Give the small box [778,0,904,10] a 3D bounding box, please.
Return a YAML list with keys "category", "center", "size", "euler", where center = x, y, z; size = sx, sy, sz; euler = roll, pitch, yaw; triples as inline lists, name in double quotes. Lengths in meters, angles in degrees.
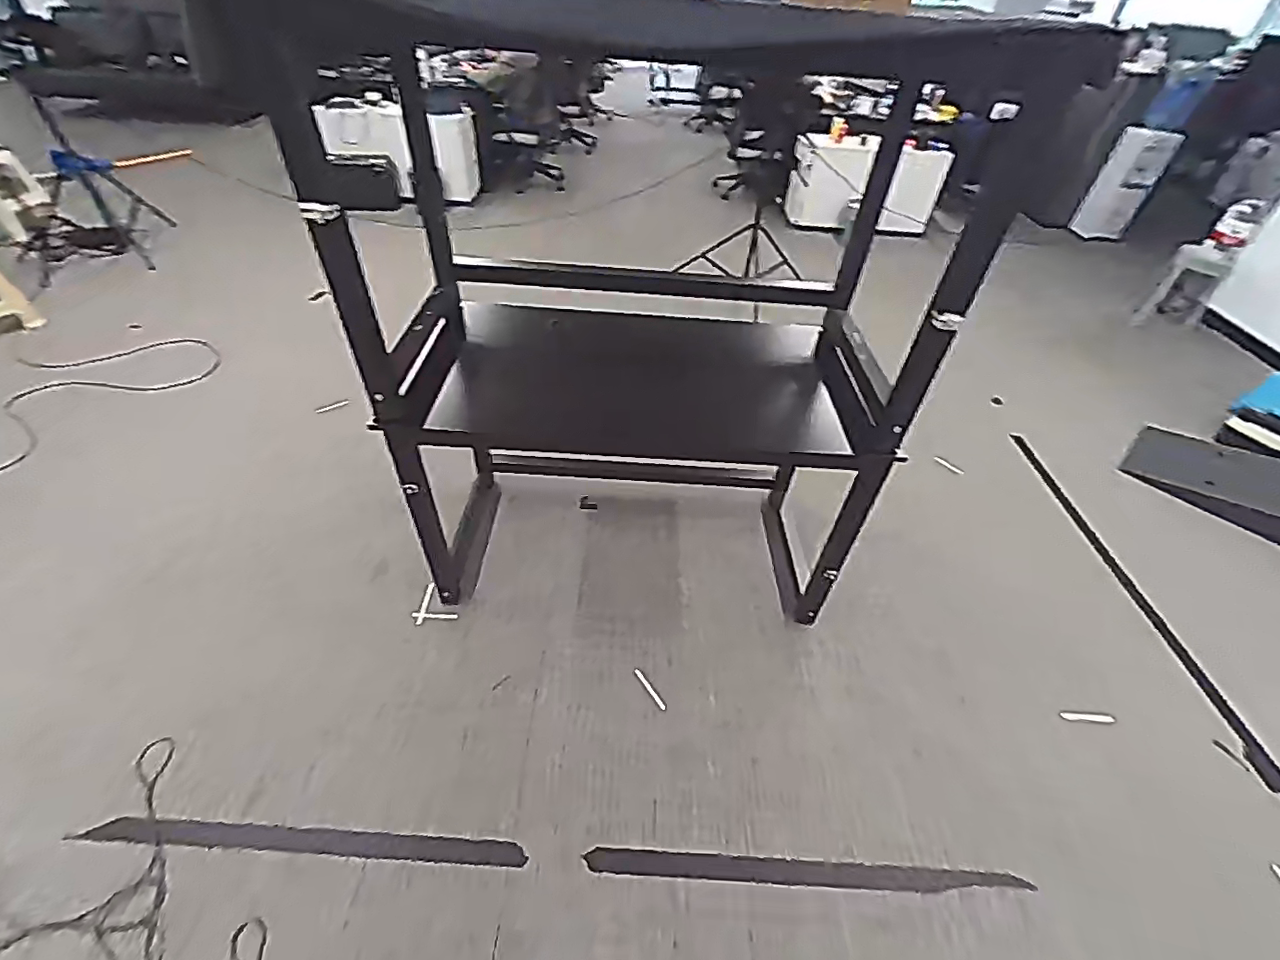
- category: "small box"
  center: [0.292, -0.764, 0.745]
  size: [0.168, 0.176, 0.179]
  euler: [6, 42, 2]
